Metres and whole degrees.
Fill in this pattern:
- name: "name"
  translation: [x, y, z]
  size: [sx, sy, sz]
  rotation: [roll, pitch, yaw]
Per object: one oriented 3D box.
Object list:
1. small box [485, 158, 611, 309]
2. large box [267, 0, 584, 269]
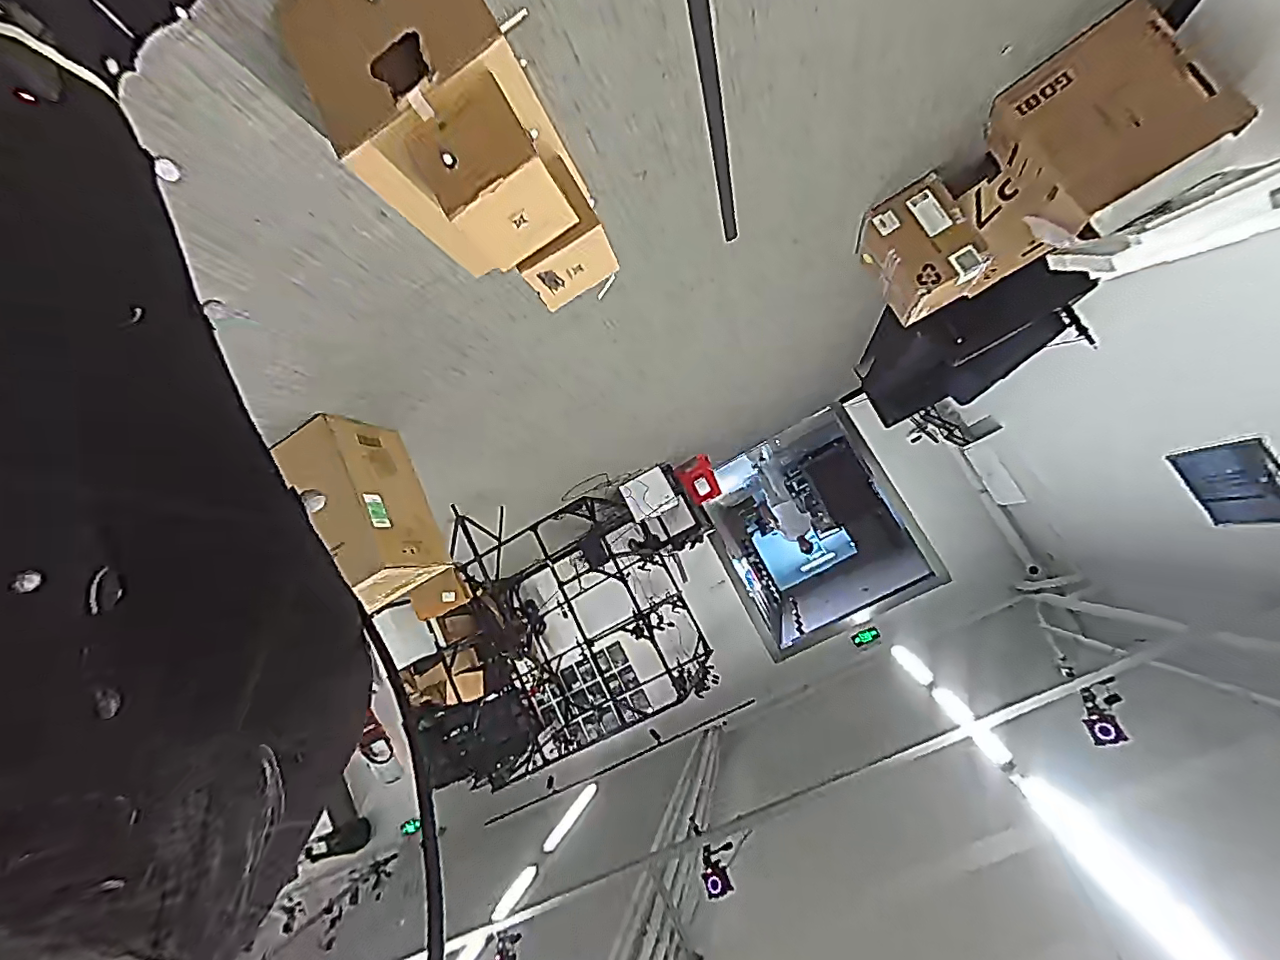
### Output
- name: "small box"
  translation: [-0.184, -0.483, 1.072]
  size: [0.179, 0.176, 0.168]
  rotation: [-30, 169, 5]
- name: "large box"
  translation: [-0.363, -0.683, 1.006]
  size: [0.320, 0.320, 0.408]
  rotation: [-29, 170, 9]
